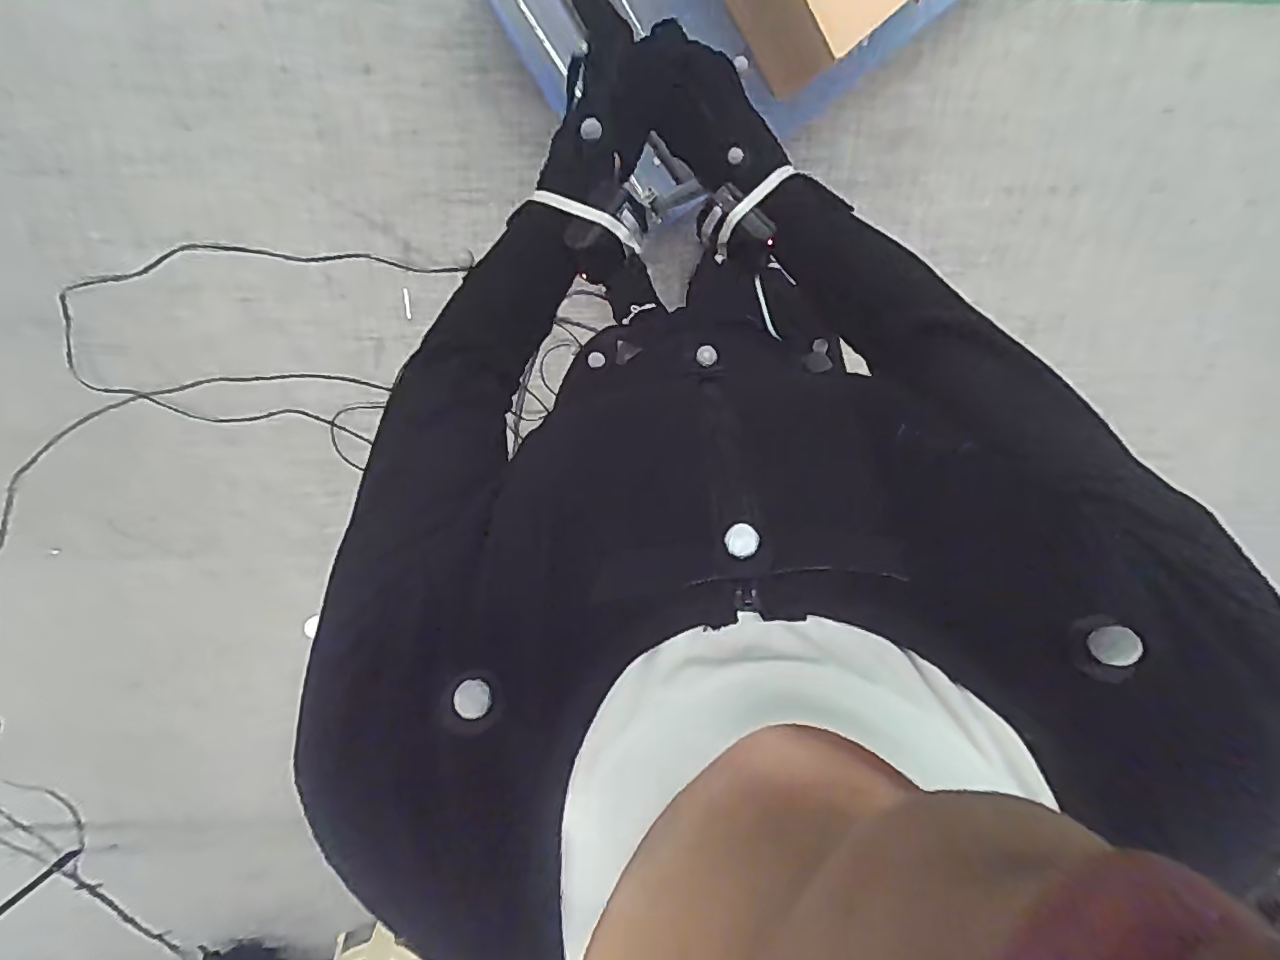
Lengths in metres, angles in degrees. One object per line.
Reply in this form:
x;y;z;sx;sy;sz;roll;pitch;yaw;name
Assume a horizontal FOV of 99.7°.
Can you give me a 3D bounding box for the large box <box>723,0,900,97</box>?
0.263;-0.882;0.789;0.320;0.320;0.408;-36;111;13;large box
